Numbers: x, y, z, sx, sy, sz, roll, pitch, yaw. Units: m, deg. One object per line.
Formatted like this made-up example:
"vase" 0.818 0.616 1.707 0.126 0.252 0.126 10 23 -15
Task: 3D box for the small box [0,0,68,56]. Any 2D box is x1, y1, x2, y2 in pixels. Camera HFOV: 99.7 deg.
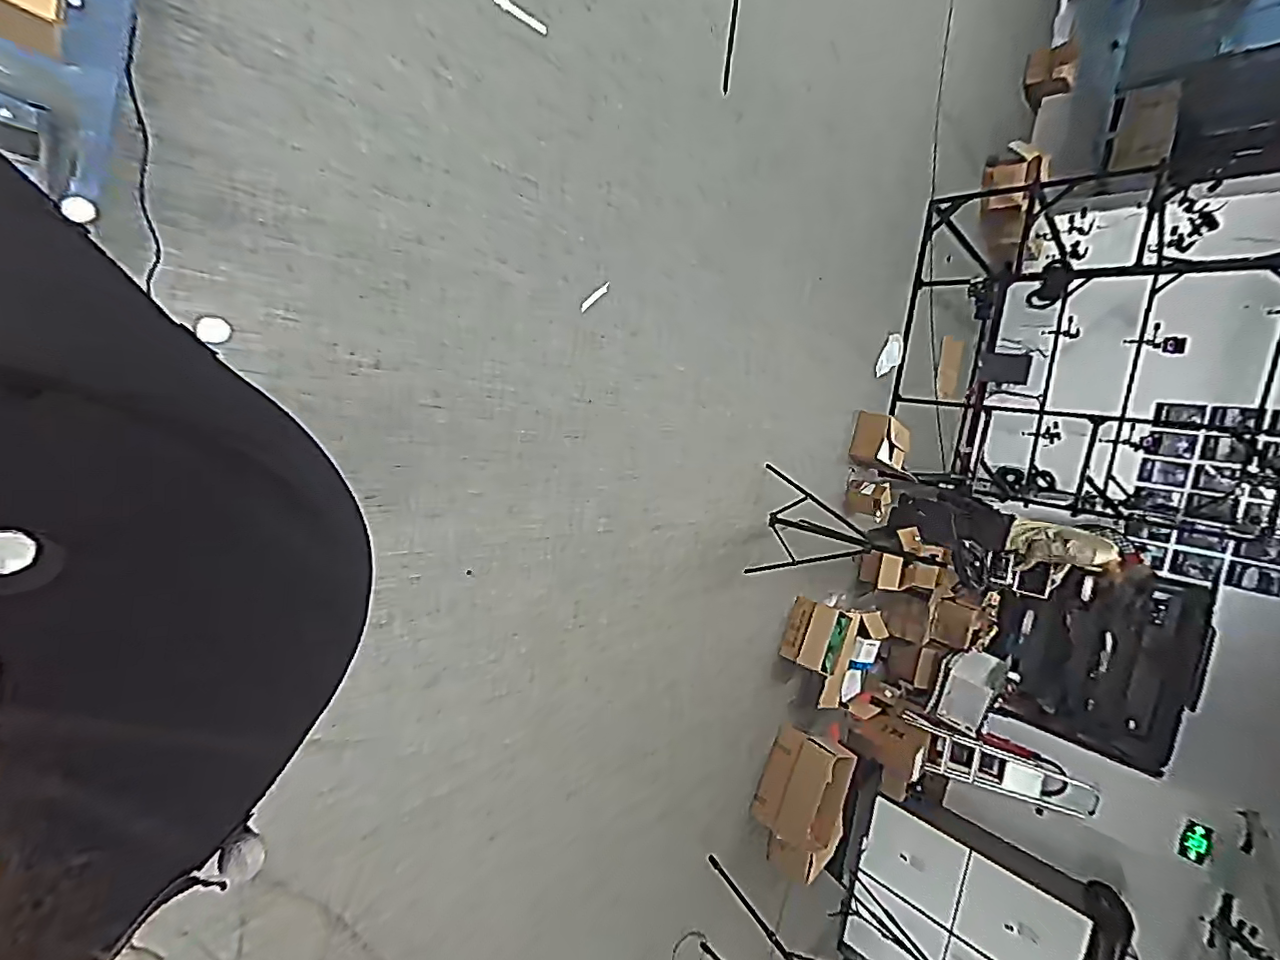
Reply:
"small box" -0.885 -0.713 0.713 0.179 0.176 0.168 6 97 -47
